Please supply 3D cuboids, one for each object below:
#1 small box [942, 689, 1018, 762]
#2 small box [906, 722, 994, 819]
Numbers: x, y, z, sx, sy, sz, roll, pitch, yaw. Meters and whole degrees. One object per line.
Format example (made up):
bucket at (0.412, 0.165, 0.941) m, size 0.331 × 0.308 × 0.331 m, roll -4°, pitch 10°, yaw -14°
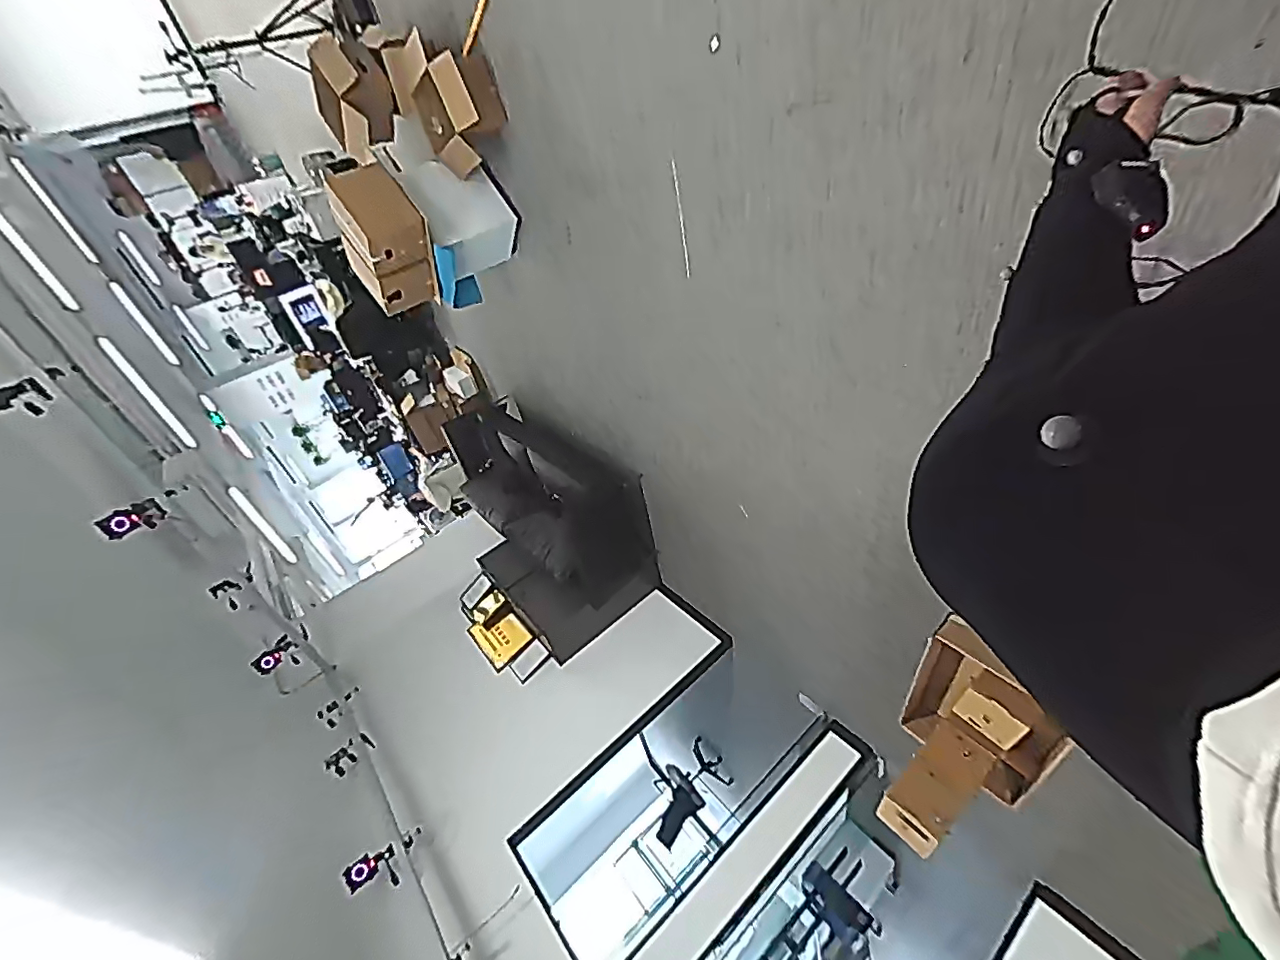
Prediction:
small box at (1.090, 0.824, 1.761) m, size 0.168 × 0.176 × 0.179 m, roll 33°, pitch 145°, yaw 39°
small box at (0.968, 0.902, 1.688) m, size 0.168 × 0.176 × 0.179 m, roll 33°, pitch 145°, yaw 40°
